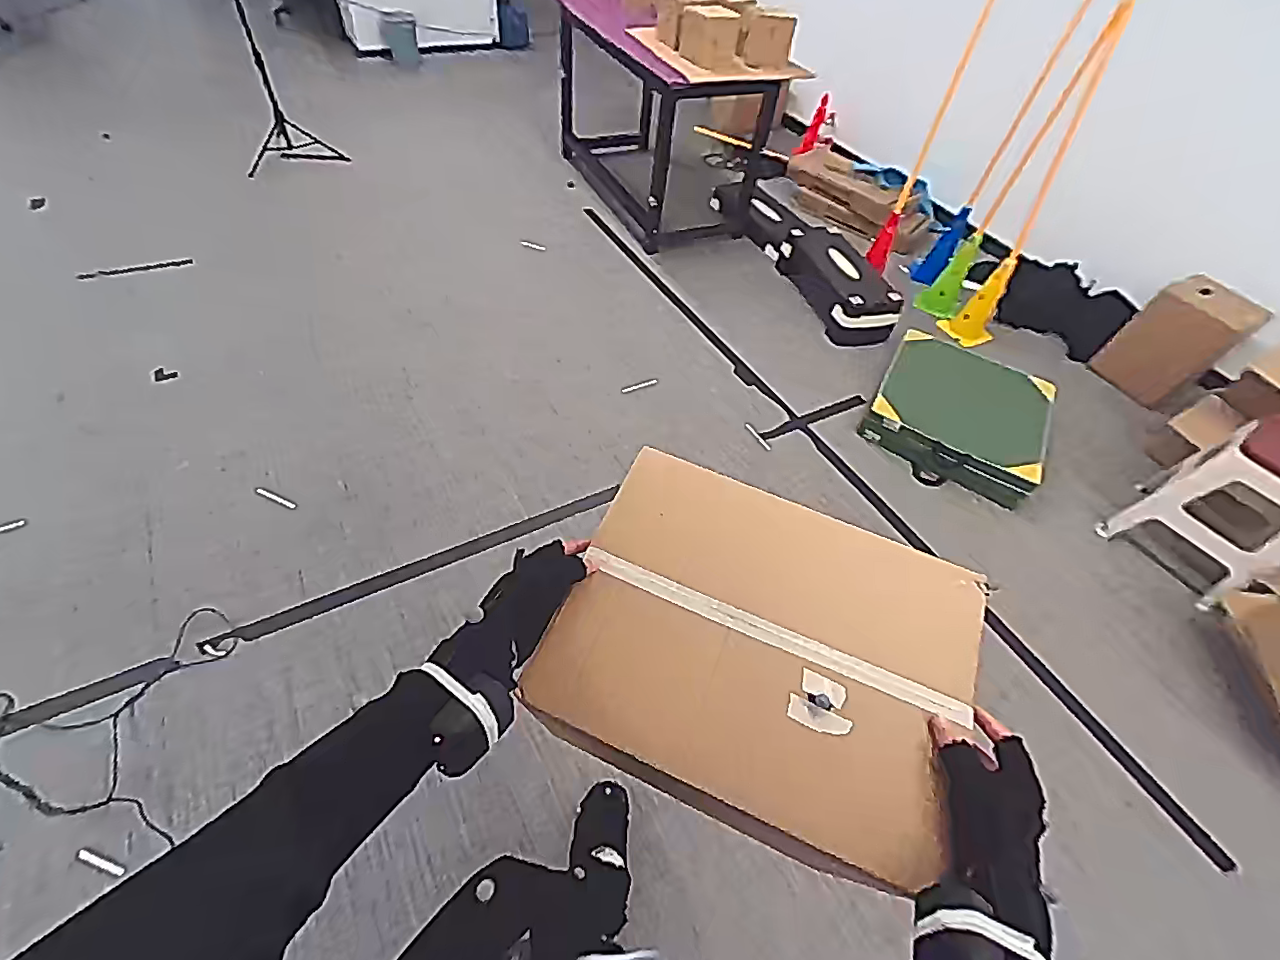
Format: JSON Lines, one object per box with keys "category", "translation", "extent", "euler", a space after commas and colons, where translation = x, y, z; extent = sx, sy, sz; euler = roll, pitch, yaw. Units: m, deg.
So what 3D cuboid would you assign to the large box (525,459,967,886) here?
{"category": "large box", "translation": [0.117, 0.234, 0.691], "extent": [0.408, 0.320, 0.320], "euler": [22, 62, 10]}
